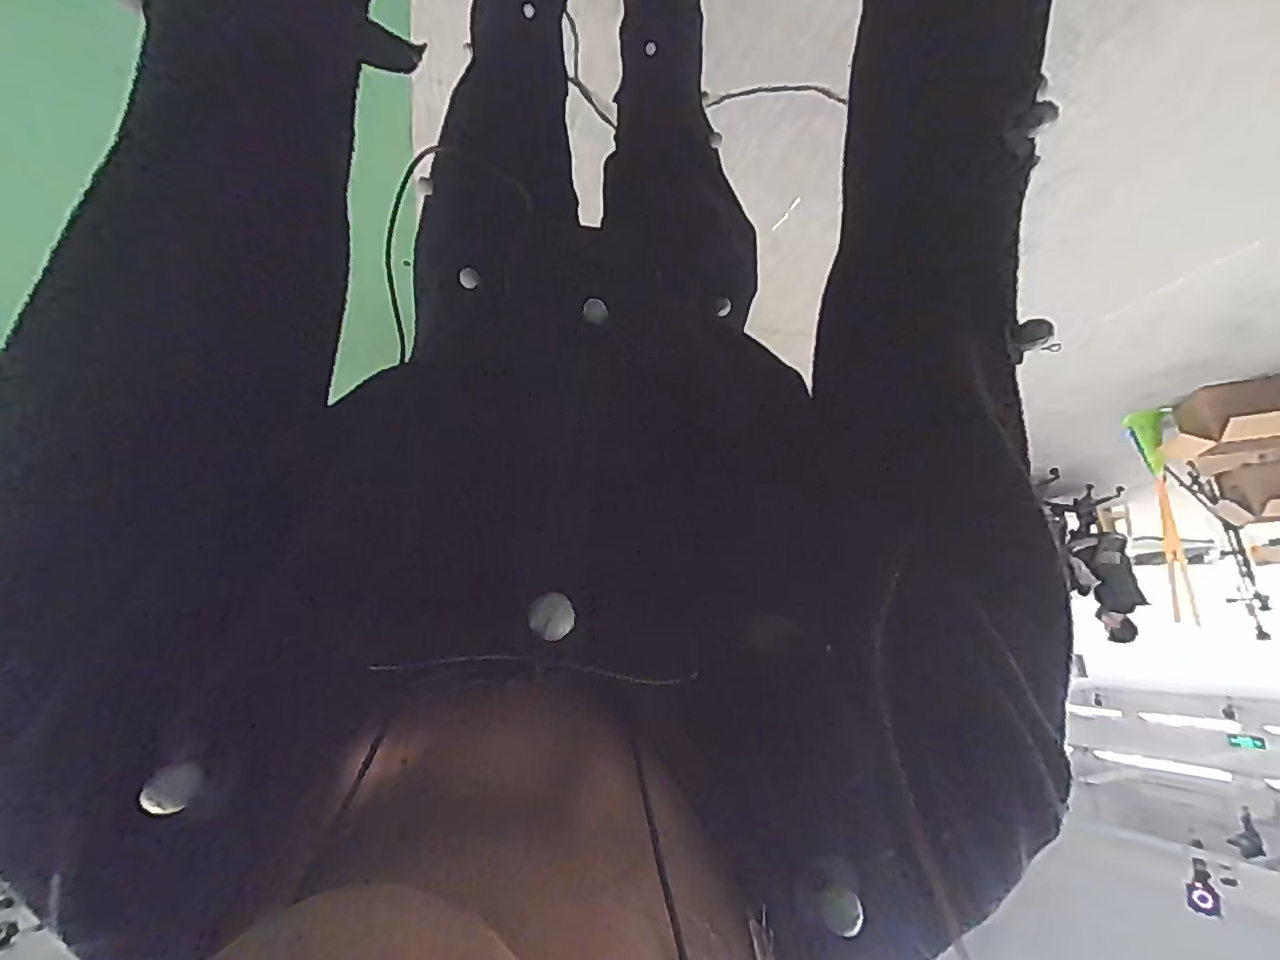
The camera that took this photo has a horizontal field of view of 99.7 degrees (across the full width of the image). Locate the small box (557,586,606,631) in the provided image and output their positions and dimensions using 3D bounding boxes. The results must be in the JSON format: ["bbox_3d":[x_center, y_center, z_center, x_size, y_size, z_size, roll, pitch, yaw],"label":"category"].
[{"bbox_3d":[-0.248,0.538,2.264,0.179,0.176,0.168,3,162,-20],"label":"small box"}]

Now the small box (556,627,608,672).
[{"bbox_3d":[-0.239,0.696,2.219,0.179,0.176,0.168,6,161,-21],"label":"small box"}]
